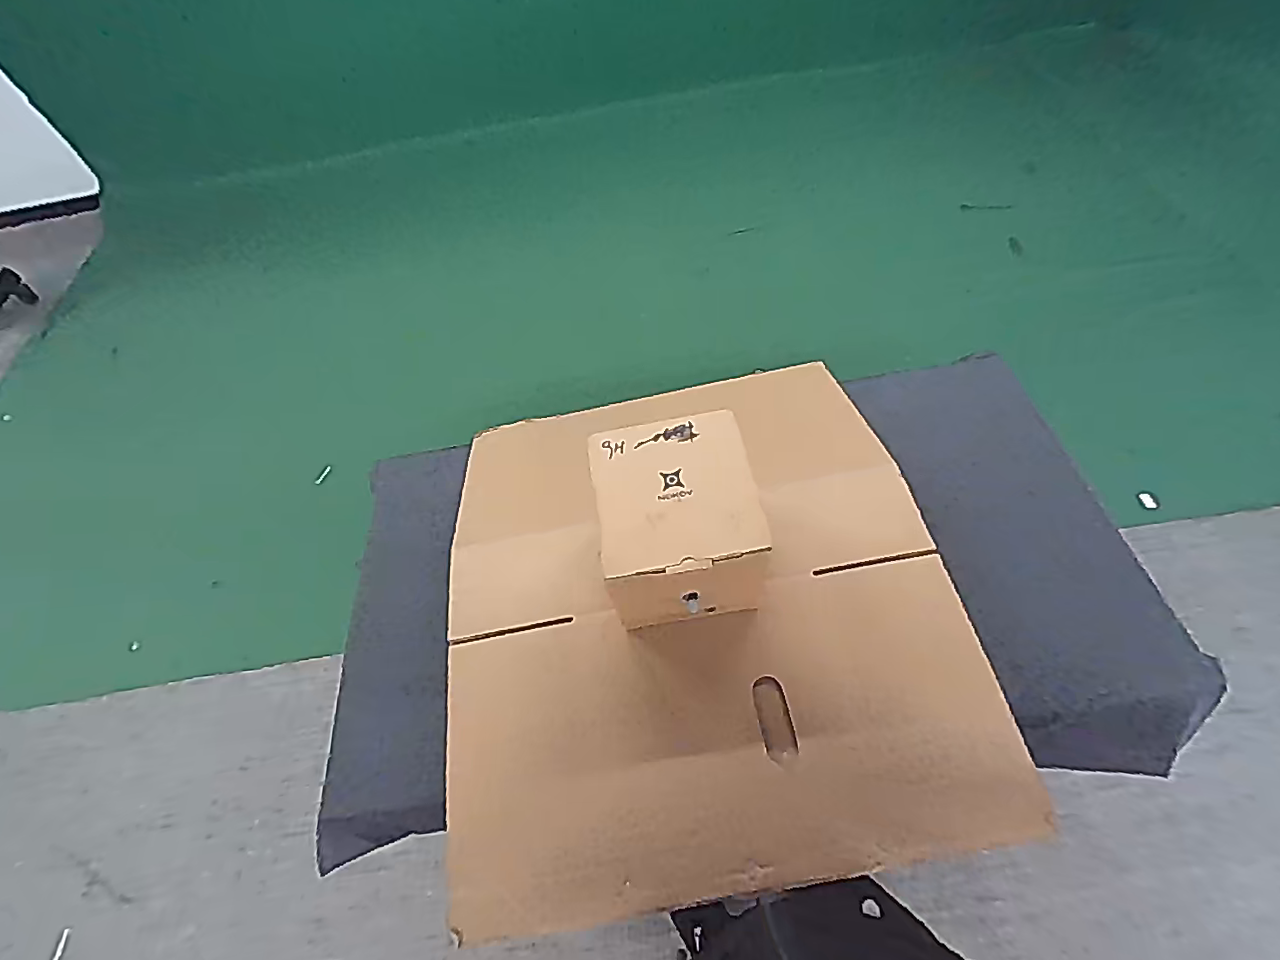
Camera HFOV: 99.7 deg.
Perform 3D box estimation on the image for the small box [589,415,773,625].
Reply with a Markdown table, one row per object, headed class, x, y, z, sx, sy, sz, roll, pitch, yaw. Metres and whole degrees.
| class | x | y | z | sx | sy | sz | roll | pitch | yaw |
| --- | --- | --- | --- | --- | --- | --- | --- | --- | --- |
| small box | 0.047 | 0.057 | 0.628 | 0.168 | 0.176 | 0.179 | -13 | 57 | 0 |
